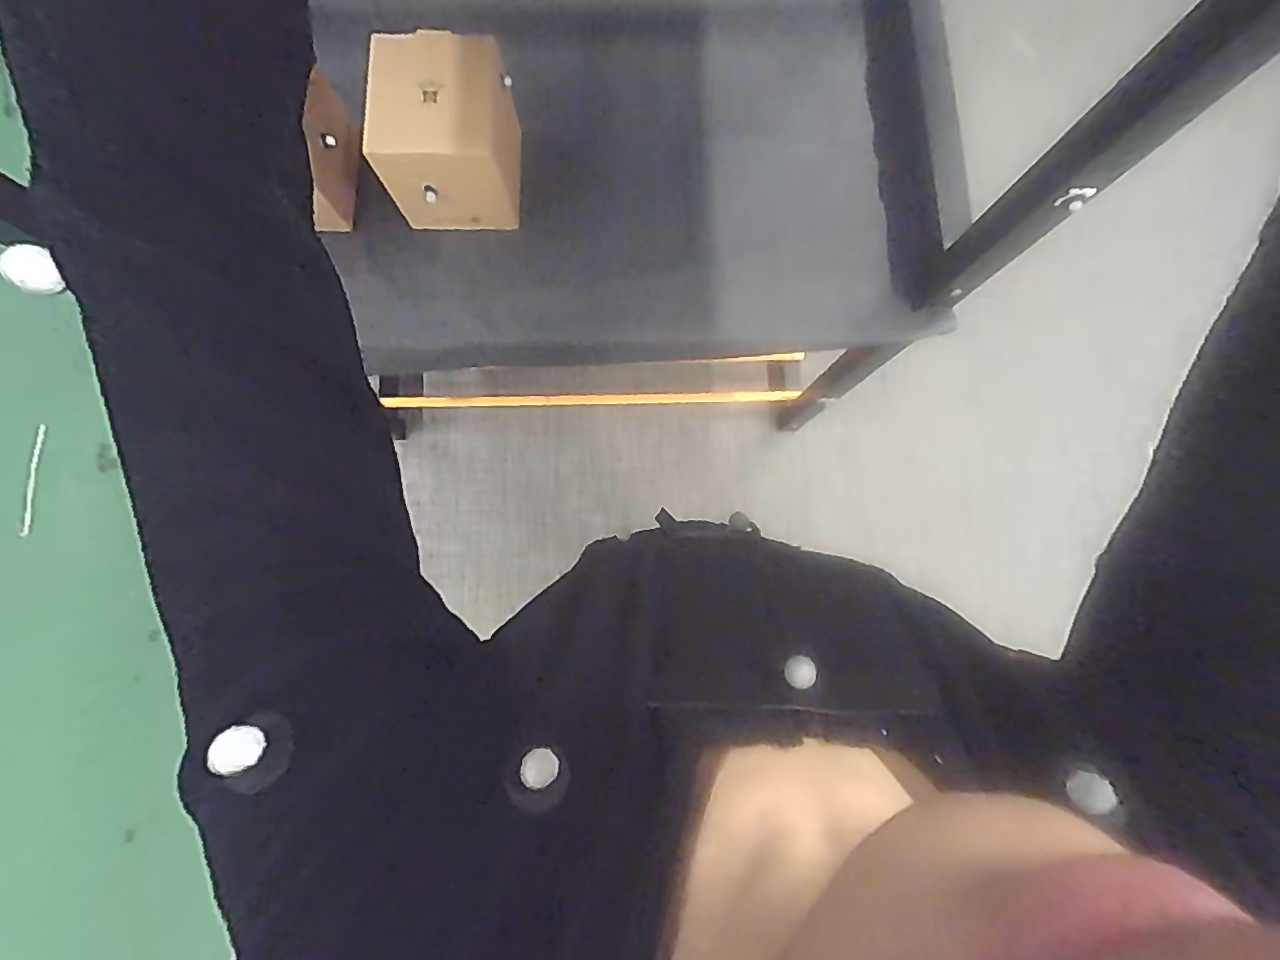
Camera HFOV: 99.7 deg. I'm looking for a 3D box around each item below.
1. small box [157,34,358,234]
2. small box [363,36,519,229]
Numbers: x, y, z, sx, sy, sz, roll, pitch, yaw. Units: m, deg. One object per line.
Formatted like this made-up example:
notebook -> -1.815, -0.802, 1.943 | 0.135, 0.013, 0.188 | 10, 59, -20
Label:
small box -> -0.525, -0.482, 0.770 | 0.168, 0.176, 0.179 | 0, 82, -1
small box -> -0.272, -0.486, 0.778 | 0.168, 0.176, 0.179 | -1, 81, -1
